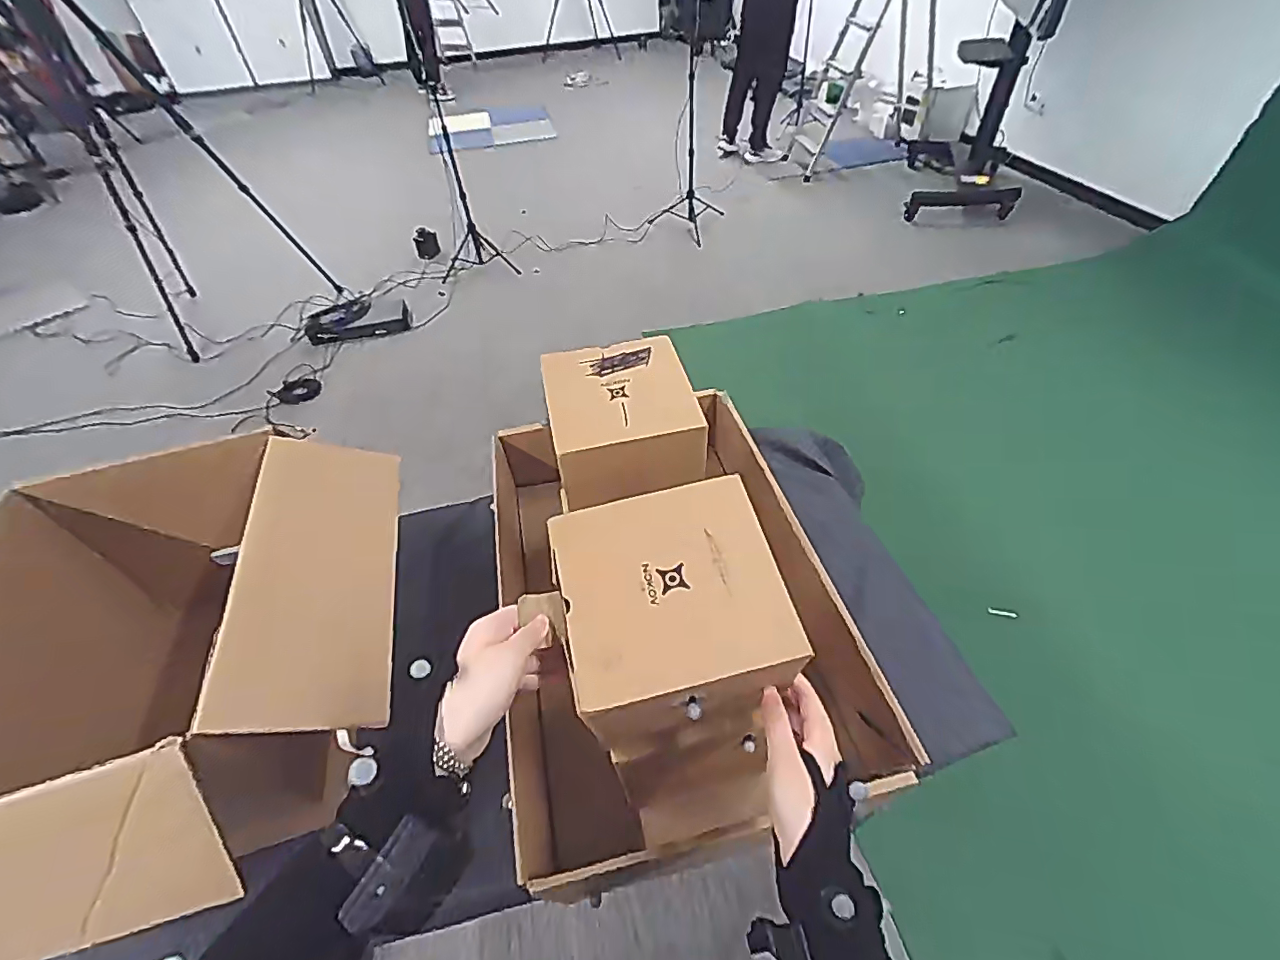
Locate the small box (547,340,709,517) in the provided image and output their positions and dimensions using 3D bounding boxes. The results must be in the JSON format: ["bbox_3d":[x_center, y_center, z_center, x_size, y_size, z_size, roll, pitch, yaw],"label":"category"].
[{"bbox_3d":[-0.019,-0.049,0.684,0.168,0.176,0.179,-11,51,-6],"label":"small box"}]

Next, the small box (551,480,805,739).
[{"bbox_3d":[0.028,0.127,0.503,0.179,0.176,0.168,-13,58,-5],"label":"small box"}]
